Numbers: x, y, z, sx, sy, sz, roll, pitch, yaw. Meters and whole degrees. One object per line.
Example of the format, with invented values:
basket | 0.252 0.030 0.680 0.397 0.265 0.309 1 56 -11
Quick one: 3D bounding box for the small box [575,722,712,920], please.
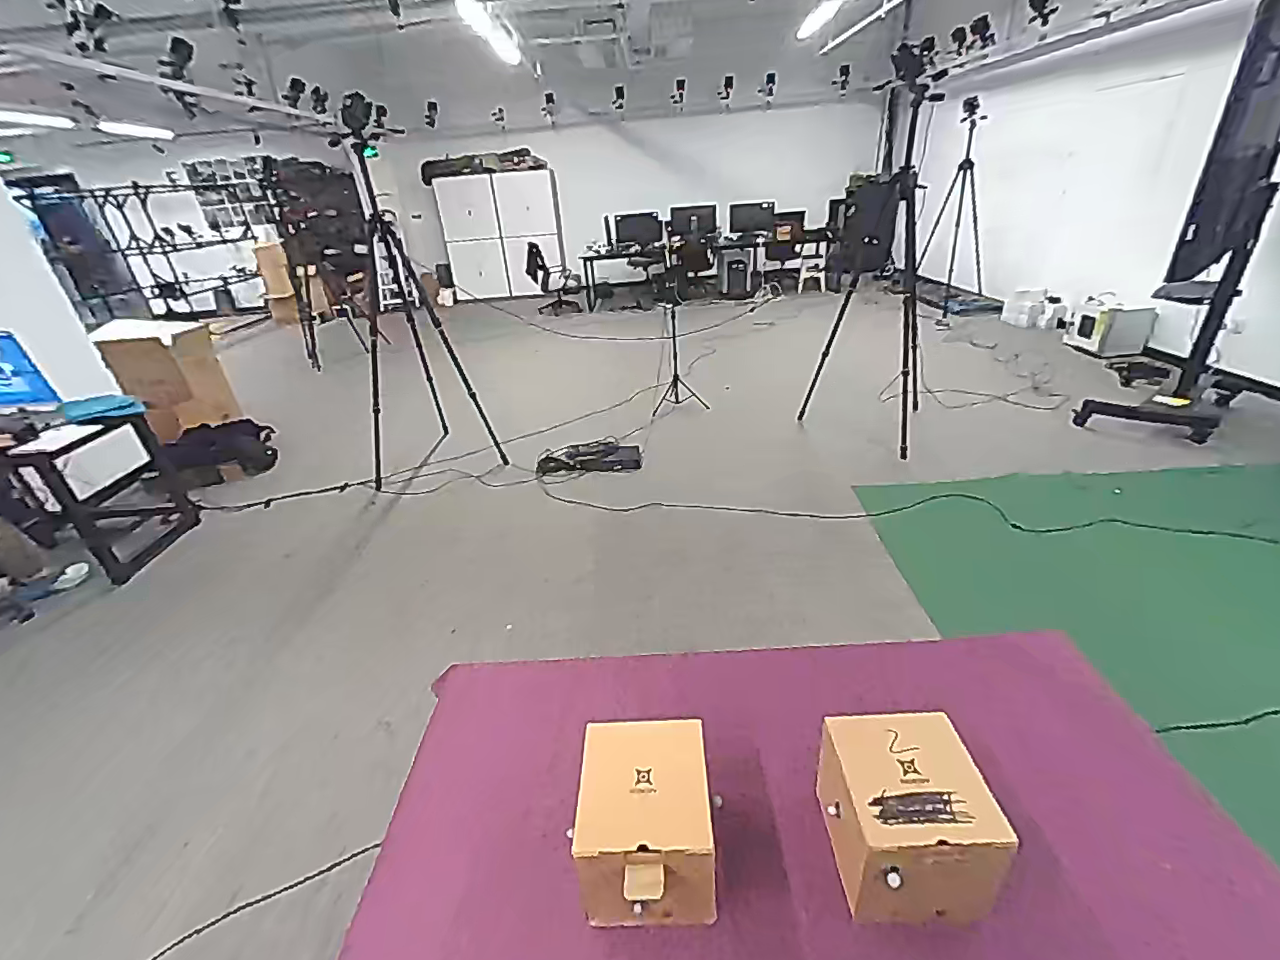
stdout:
small box | 0.009 0.464 0.747 0.168 0.176 0.179 -4 29 3
